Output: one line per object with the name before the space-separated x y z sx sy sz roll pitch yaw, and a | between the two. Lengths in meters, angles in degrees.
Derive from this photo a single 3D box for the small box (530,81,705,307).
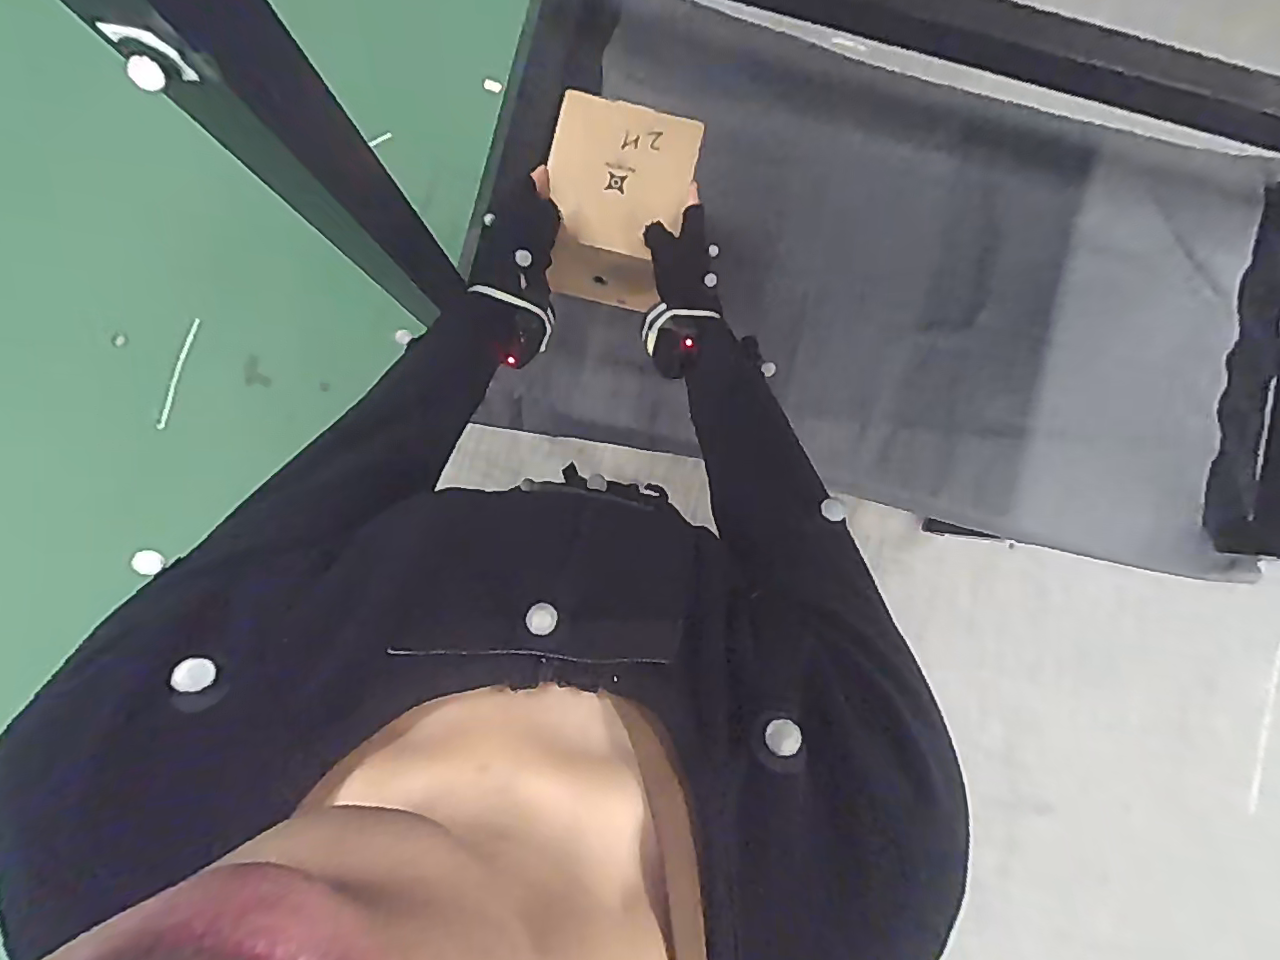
small box | -0.027 -0.342 0.682 0.168 0.176 0.179 13 87 -2
